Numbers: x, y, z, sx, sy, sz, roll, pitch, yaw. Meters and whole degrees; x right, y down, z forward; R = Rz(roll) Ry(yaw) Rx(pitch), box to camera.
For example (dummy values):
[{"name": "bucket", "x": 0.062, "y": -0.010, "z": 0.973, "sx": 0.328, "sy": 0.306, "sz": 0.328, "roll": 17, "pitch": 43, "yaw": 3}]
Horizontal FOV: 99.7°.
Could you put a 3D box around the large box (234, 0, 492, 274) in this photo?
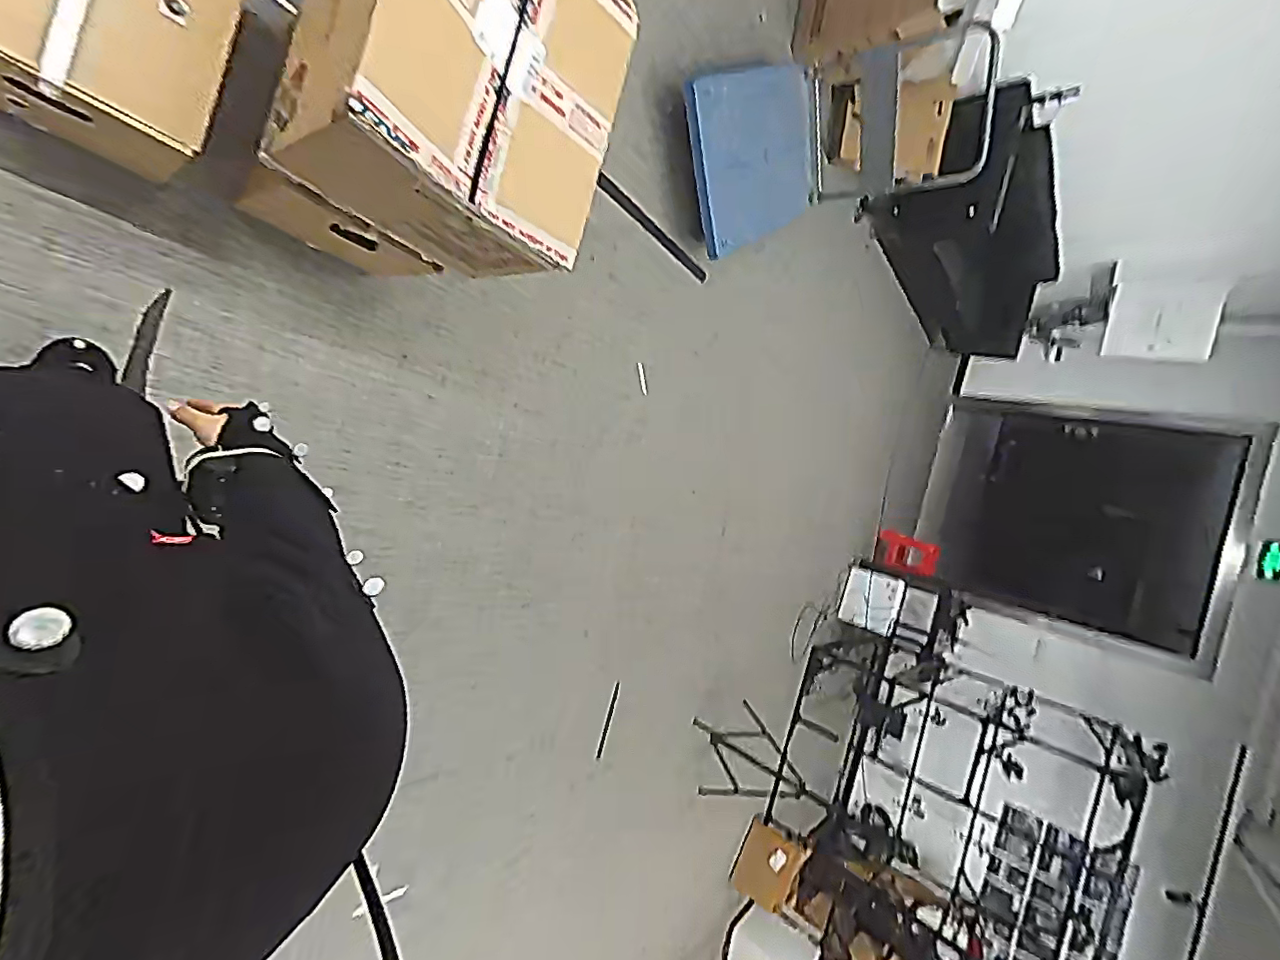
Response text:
[{"name": "large box", "x": -0.567, "y": -0.688, "z": 1.117, "sx": 0.320, "sy": 0.320, "sz": 0.408, "roll": 17, "pitch": 89, "yaw": -51}]
